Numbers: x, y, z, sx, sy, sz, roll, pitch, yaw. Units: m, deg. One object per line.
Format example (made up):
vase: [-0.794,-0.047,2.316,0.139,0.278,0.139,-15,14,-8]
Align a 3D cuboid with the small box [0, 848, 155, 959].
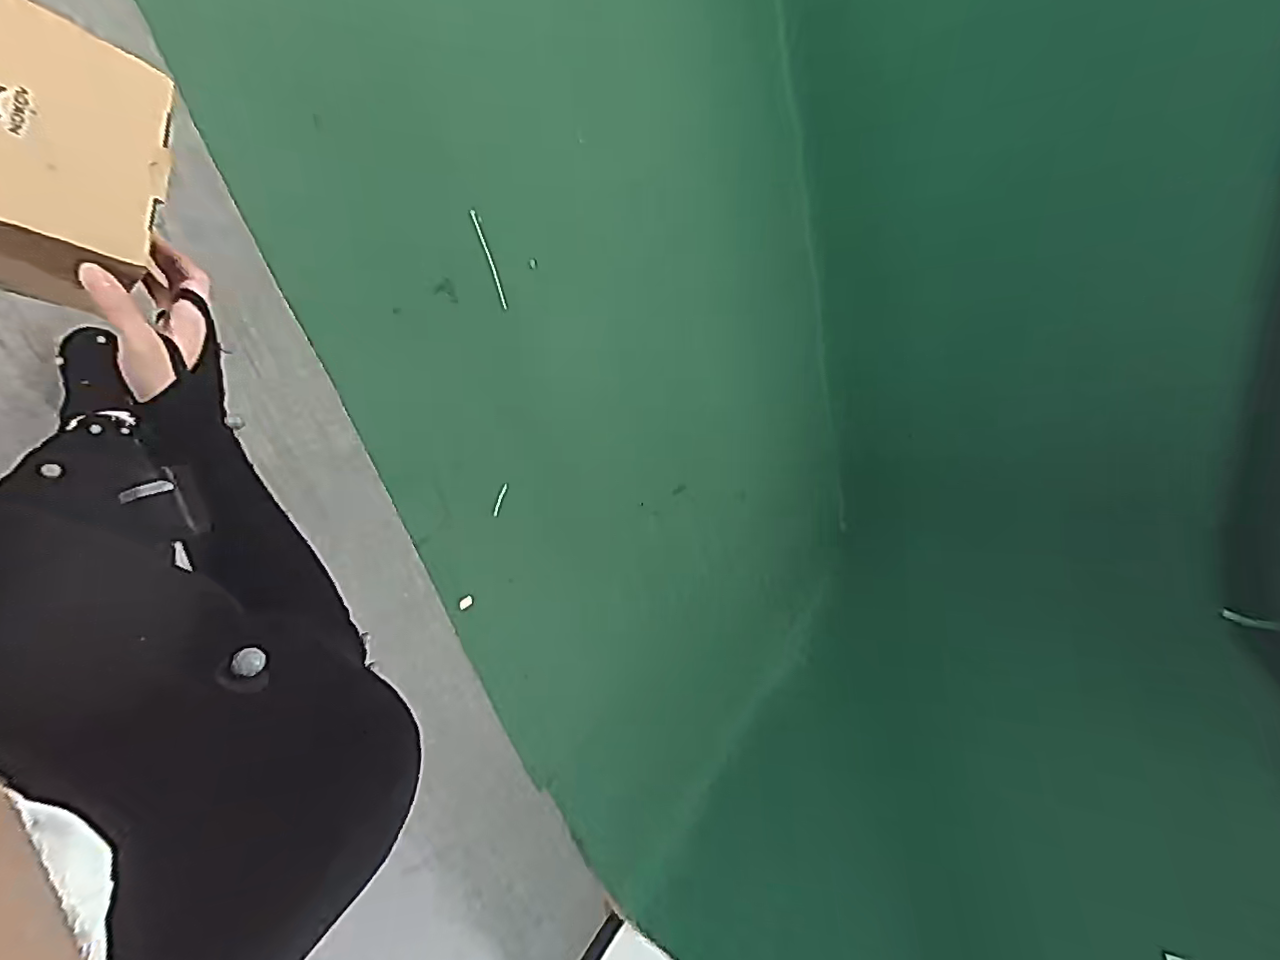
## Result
small box: [-1.146,0.897,1.102,0.168,0.176,0.179,-34,118,-42]

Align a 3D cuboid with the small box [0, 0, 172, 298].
small box: [-0.498,-0.256,0.407,0.179,0.176,0.168,11,78,-53]
